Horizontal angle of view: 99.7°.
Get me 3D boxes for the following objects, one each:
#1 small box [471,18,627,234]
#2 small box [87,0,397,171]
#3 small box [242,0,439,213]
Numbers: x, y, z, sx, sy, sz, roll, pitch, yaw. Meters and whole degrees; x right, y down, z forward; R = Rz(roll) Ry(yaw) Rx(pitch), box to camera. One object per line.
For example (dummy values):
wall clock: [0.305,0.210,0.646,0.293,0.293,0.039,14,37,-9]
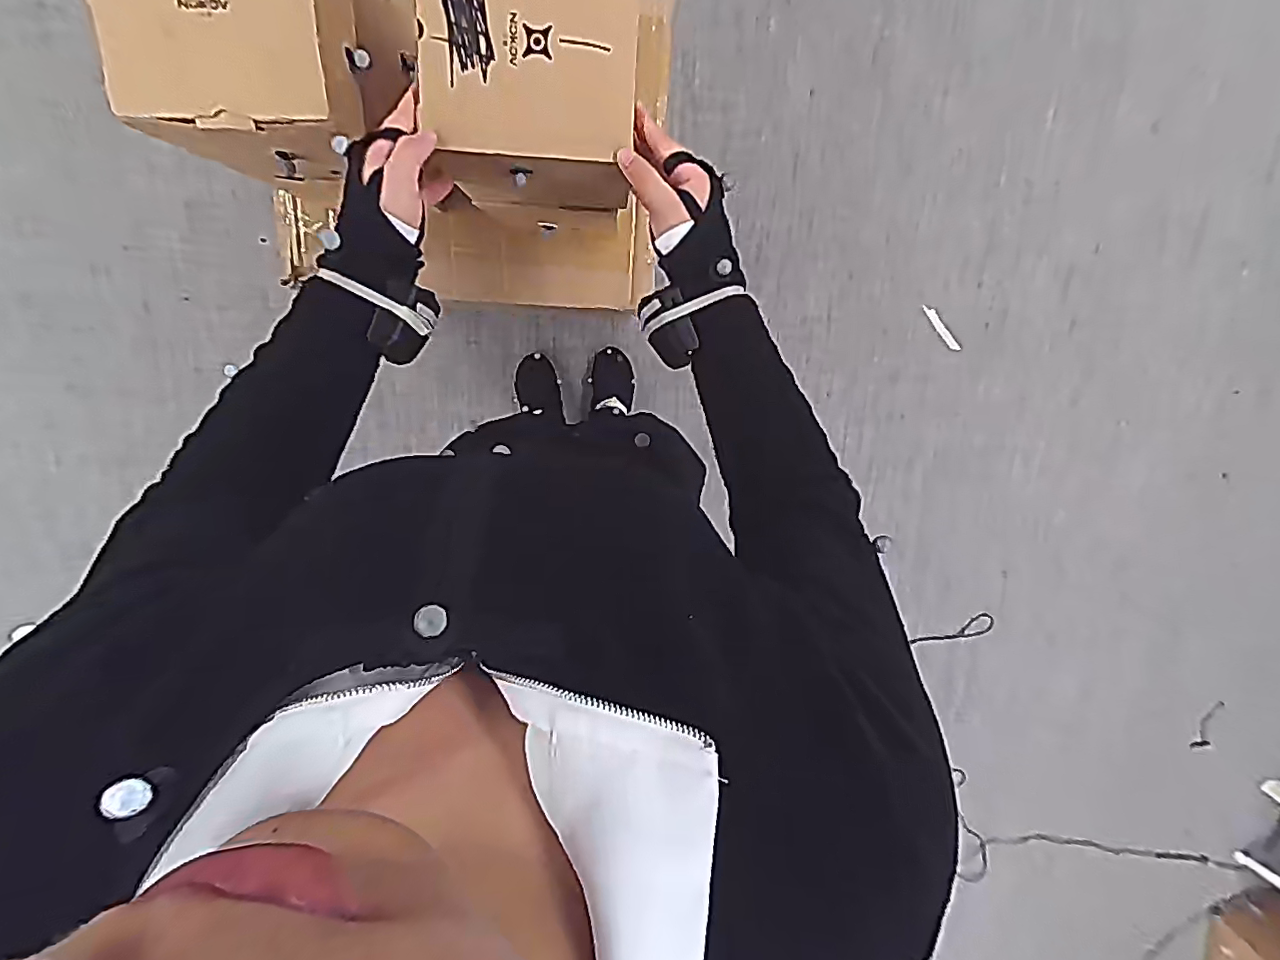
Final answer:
small box: [-0.104,-0.414,0.663,0.168,0.176,0.179,3,107,-2]
small box: [-0.334,-0.390,0.481,0.168,0.176,0.179,-1,107,-4]
small box: [-0.346,-0.432,0.639,0.168,0.176,0.179,1,106,-5]
